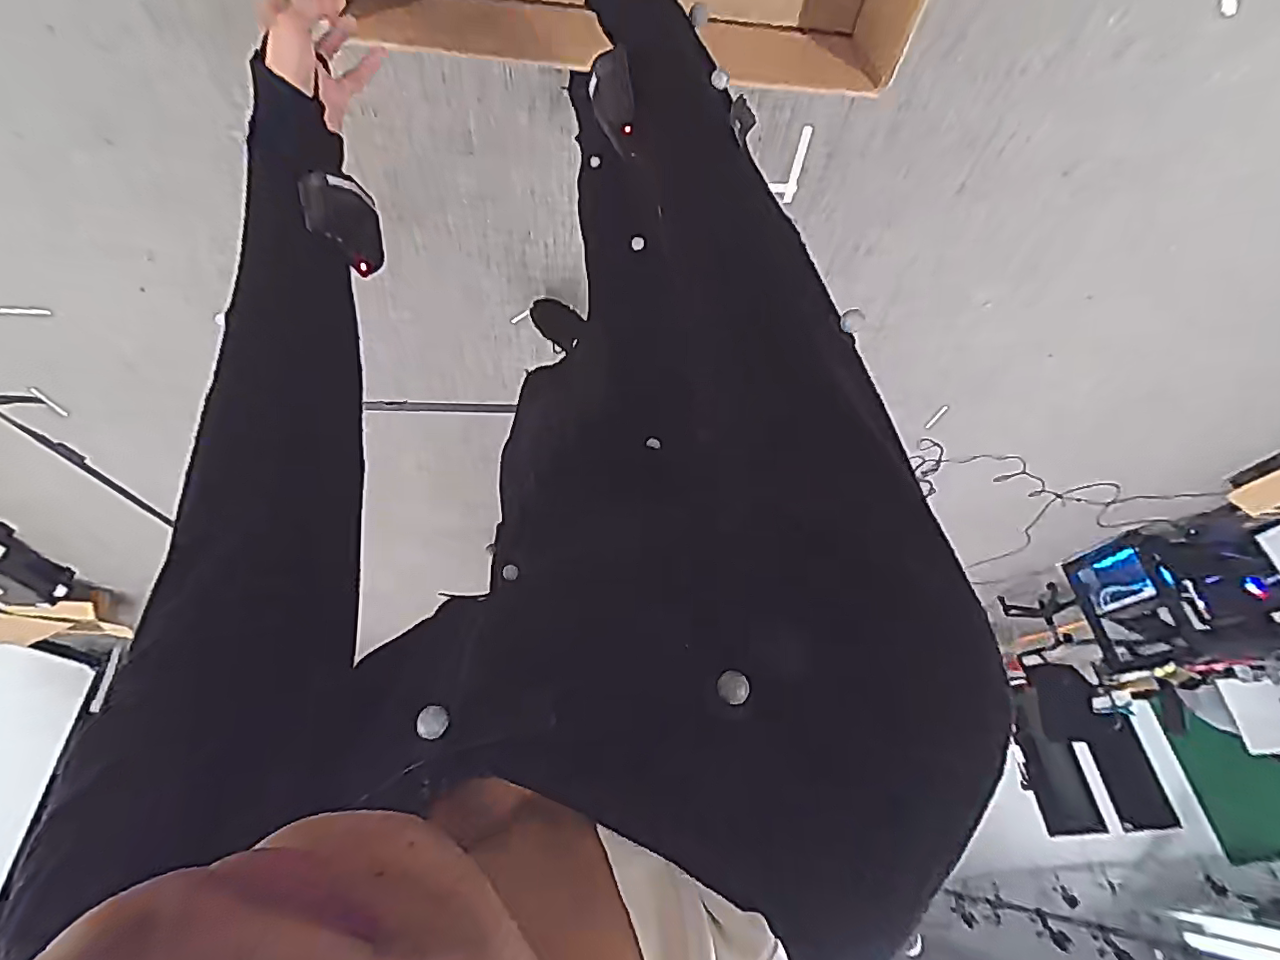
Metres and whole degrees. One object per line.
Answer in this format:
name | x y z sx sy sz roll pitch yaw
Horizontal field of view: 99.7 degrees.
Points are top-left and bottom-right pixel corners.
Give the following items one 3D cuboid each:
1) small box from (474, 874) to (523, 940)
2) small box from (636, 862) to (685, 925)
small box | -0.533 1.618 2.057 0.168 0.176 0.179 1 150 -10
small box | 0.074 1.616 2.120 0.168 0.176 0.179 1 151 -7
